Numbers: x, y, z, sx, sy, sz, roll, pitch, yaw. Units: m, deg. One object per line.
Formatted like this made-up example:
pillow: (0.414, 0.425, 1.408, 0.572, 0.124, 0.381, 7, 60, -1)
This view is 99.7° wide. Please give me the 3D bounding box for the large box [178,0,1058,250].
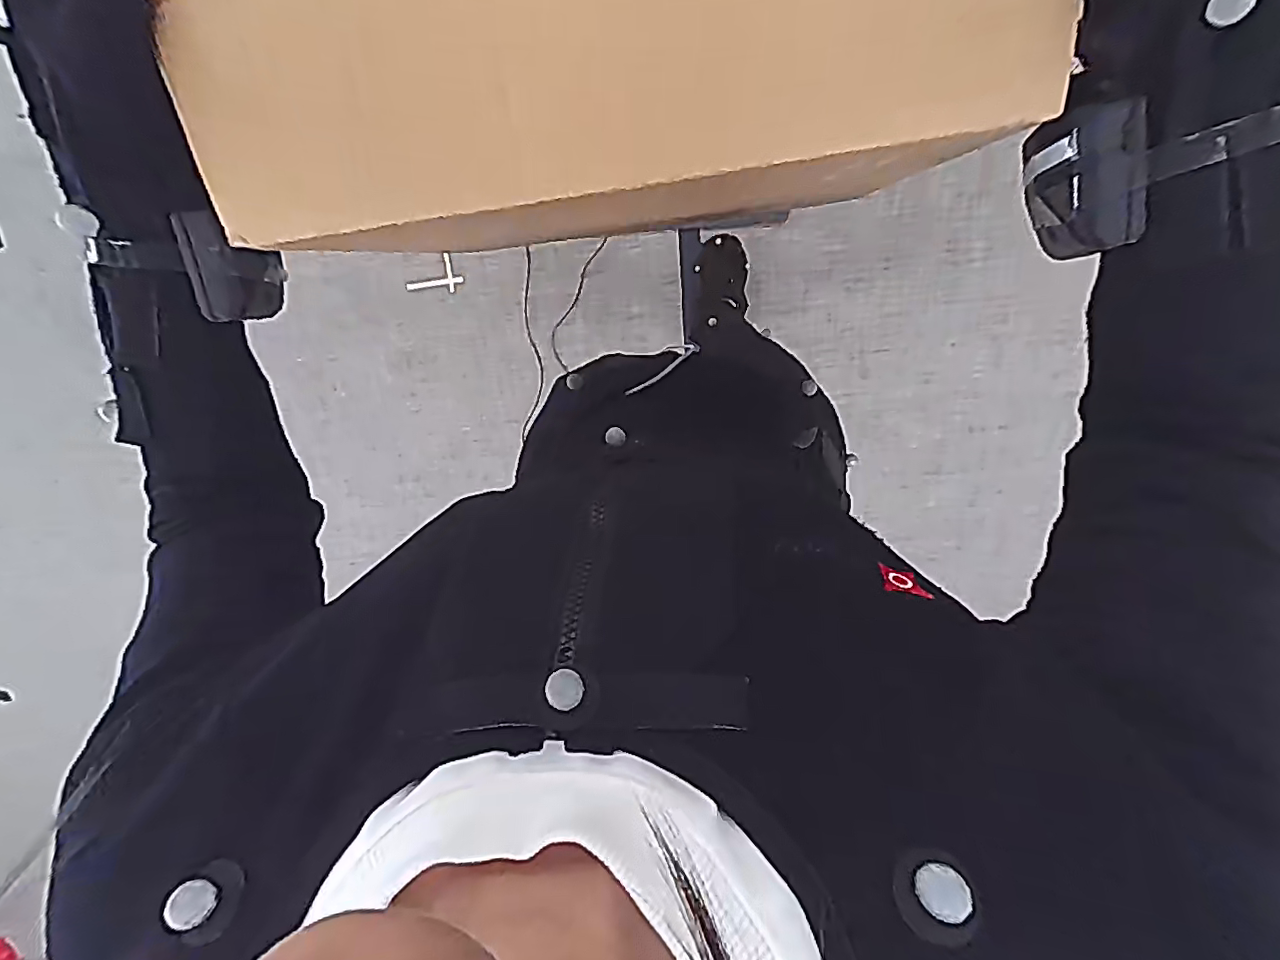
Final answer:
large box: (-0.021, -0.350, 0.355, 0.408, 0.320, 0.320, -5, 112, 8)
